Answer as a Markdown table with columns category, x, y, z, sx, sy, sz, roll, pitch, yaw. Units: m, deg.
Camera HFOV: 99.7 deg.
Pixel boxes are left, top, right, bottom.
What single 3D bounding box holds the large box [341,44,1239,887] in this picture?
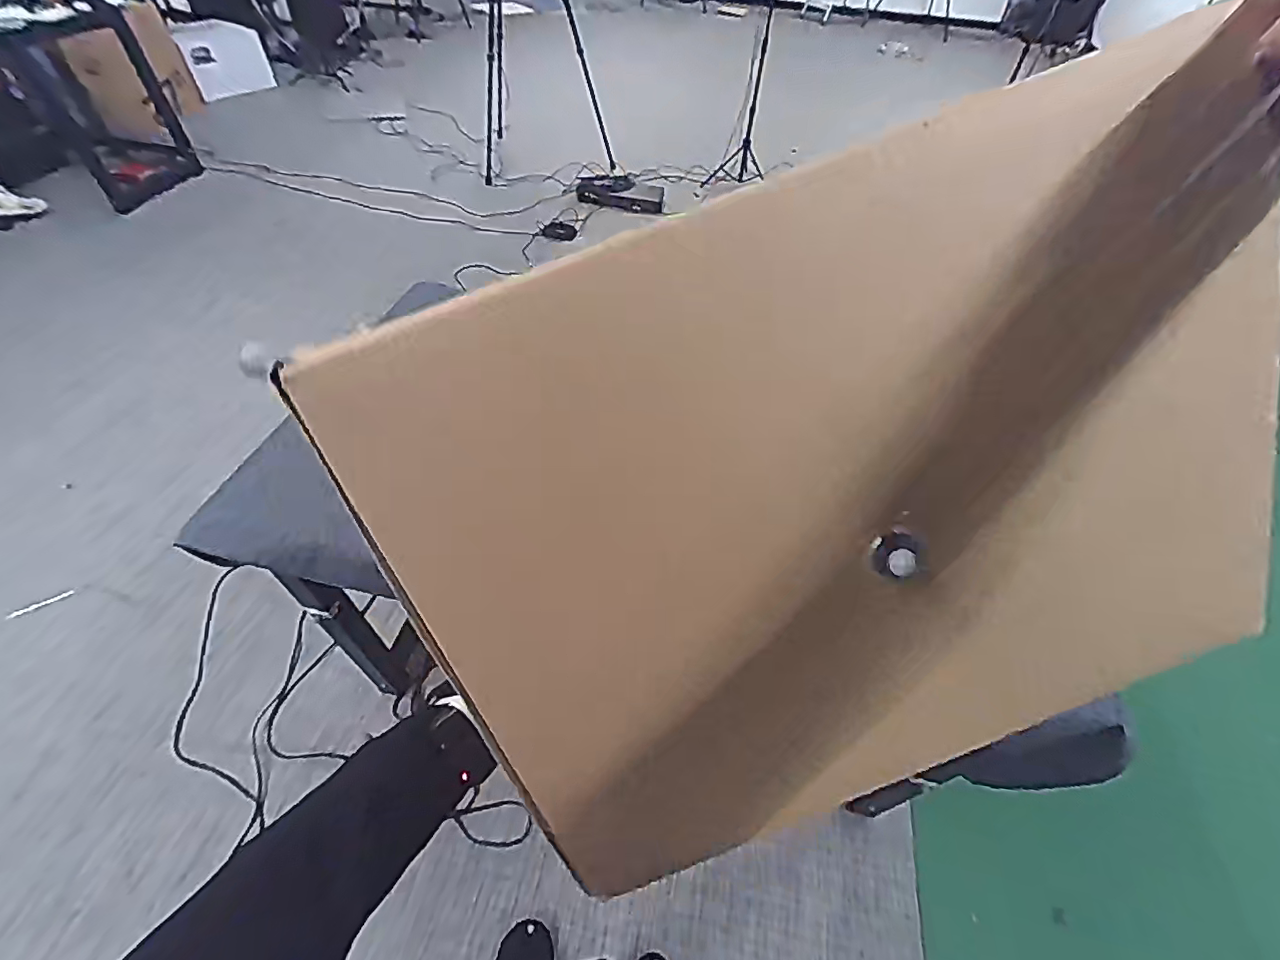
| category | x | y | z | sx | sy | sz | roll | pitch | yaw |
| --- | --- | --- | --- | --- | --- | --- | --- | --- | --- |
| large box | 0.095 | -0.016 | 0.402 | 0.408 | 0.320 | 0.320 | -24 | 20 | -2 |
